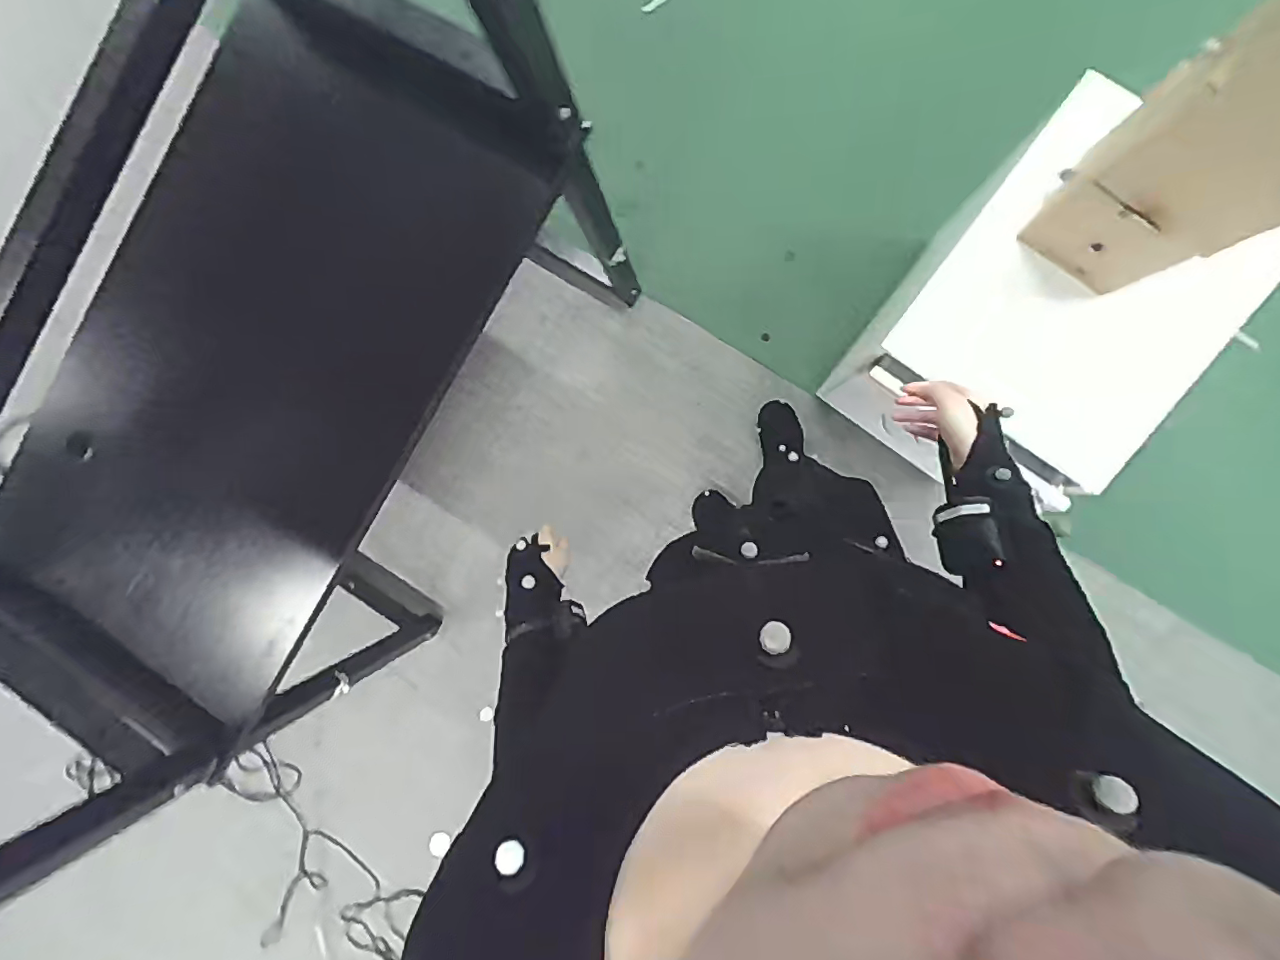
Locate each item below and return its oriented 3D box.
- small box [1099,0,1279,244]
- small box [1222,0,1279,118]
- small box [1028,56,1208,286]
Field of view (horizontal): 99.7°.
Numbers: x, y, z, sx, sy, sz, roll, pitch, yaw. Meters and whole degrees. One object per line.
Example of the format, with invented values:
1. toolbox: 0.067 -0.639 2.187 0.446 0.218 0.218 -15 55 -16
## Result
1. small box: 0.654 -0.385 0.565 0.179 0.176 0.168 40 96 4
2. small box: 0.626 -0.379 0.403 0.179 0.176 0.168 32 96 5
3. small box: 0.674 -0.394 0.726 0.168 0.176 0.179 37 96 5
